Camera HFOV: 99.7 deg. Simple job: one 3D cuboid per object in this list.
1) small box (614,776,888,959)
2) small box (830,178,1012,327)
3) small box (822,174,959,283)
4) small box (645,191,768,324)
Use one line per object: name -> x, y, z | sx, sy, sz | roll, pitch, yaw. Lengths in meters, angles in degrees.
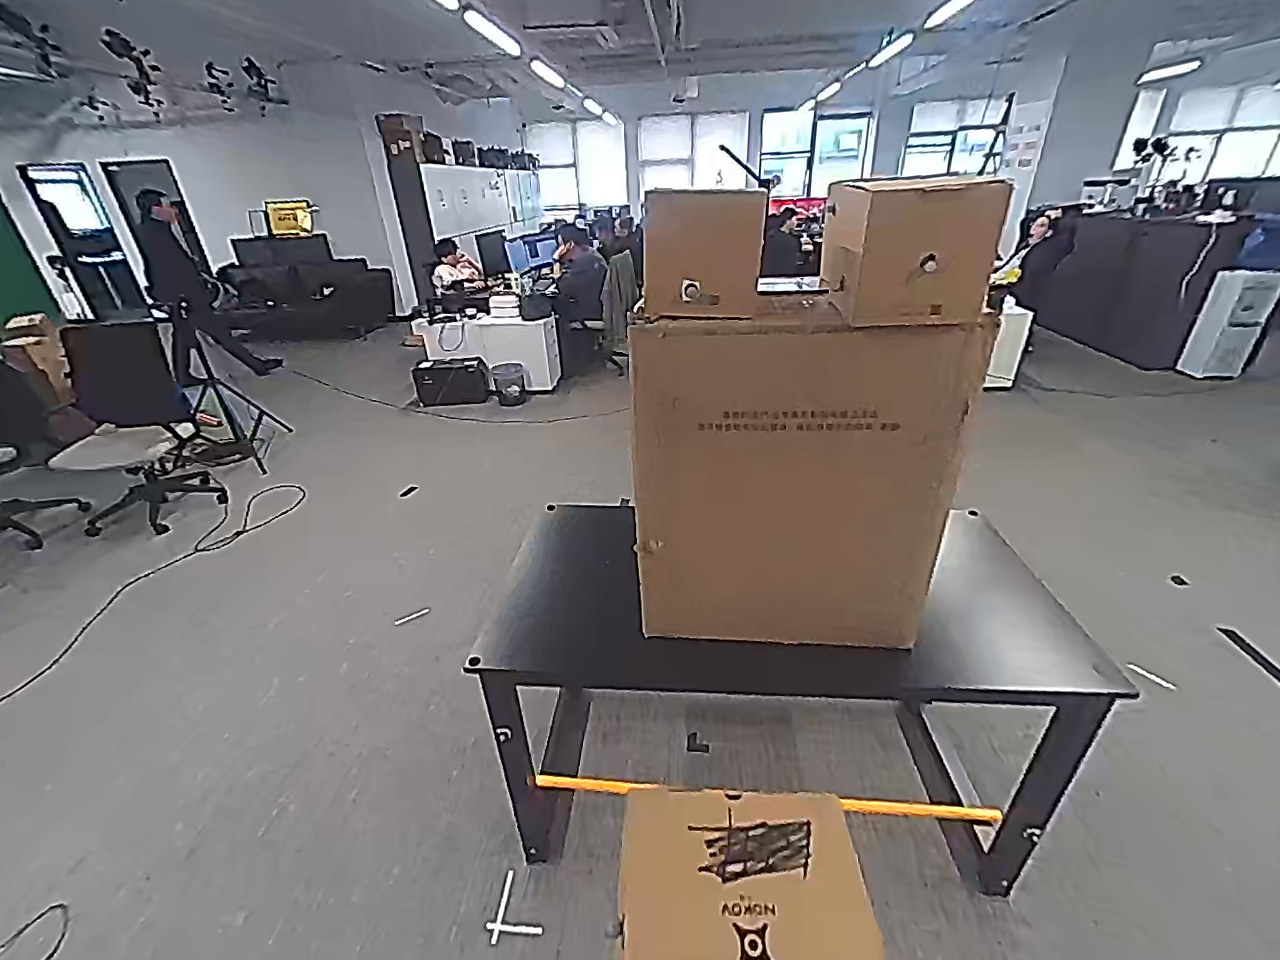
small box -> 0.066, 0.348, 0.393 | 0.168, 0.176, 0.179 | 3, 34, -2
small box -> 0.373, -0.316, 0.755 | 0.168, 0.176, 0.179 | 0, 31, 7
small box -> 0.427, -0.434, 0.956 | 0.168, 0.176, 0.179 | -1, 26, 6
small box -> 0.096, -0.345, 0.827 | 0.168, 0.176, 0.179 | 2, 30, 5
